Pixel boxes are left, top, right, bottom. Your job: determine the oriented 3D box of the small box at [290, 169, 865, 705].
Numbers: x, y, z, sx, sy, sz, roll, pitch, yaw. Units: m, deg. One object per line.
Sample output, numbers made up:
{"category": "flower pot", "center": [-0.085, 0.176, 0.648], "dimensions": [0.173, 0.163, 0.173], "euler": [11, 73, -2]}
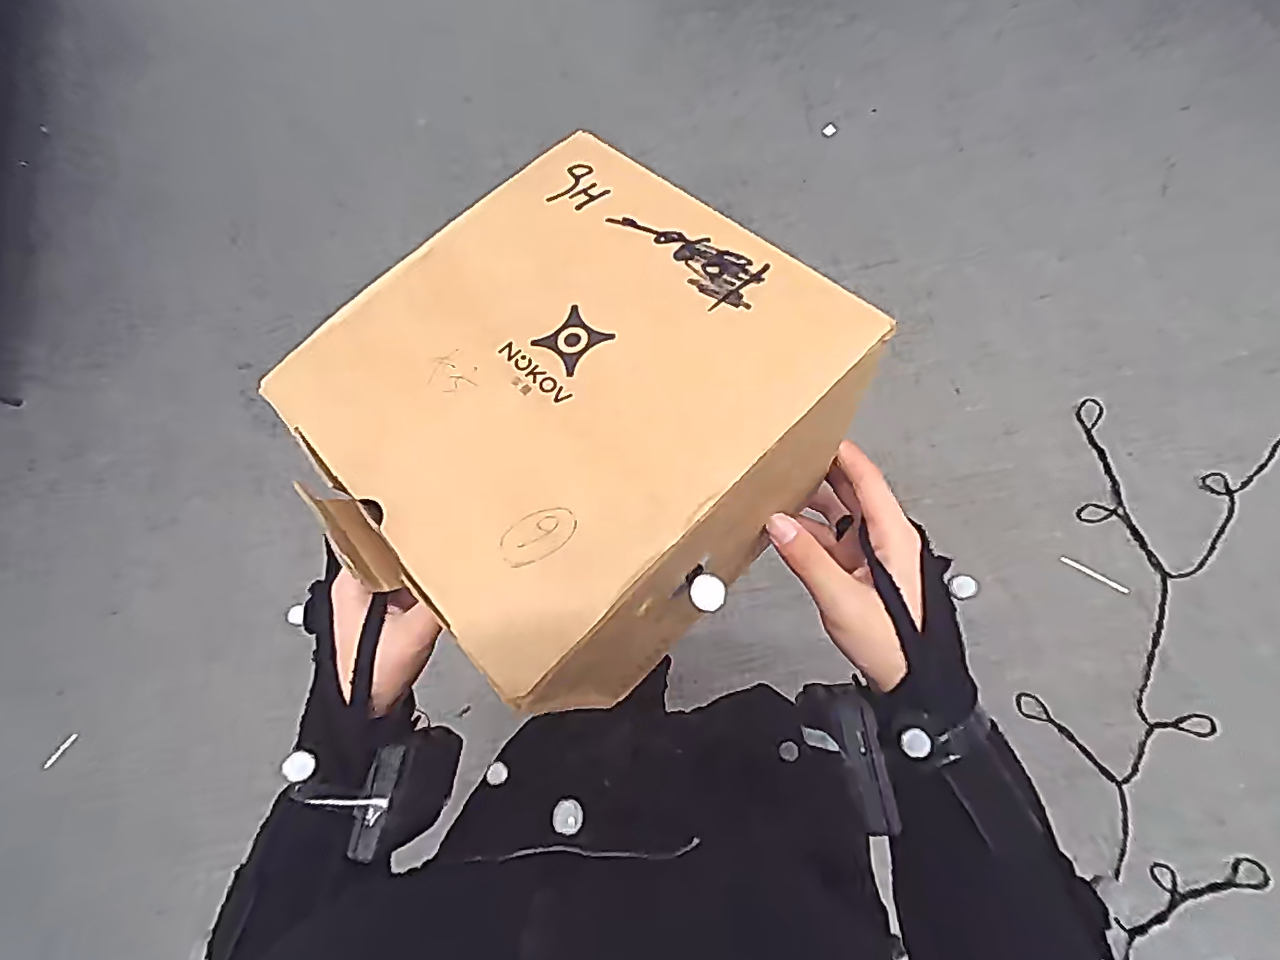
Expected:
{"category": "small box", "center": [-0.020, -0.007, 0.283], "dimensions": [0.179, 0.176, 0.168], "euler": [-44, 69, -10]}
